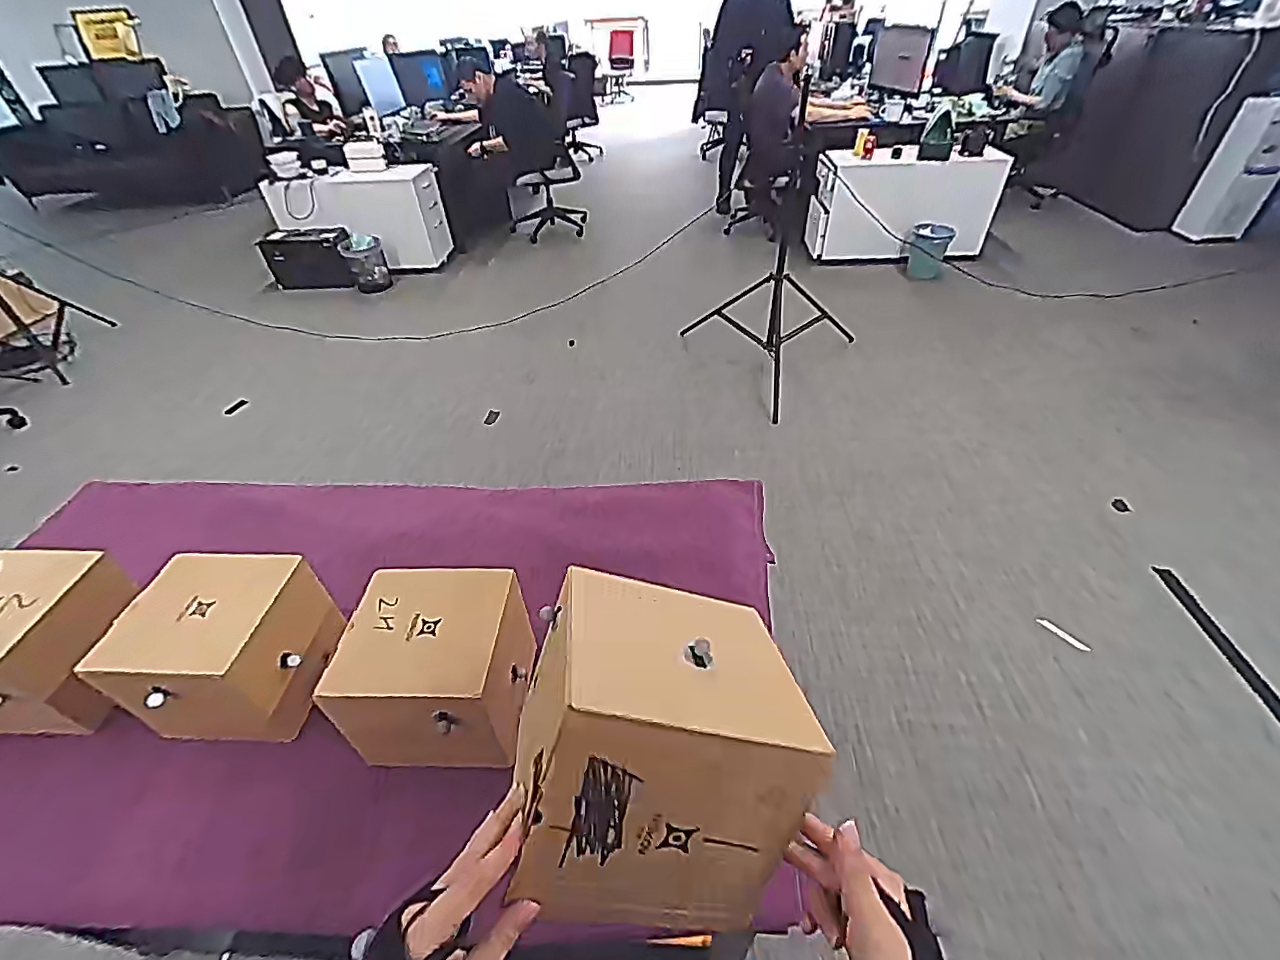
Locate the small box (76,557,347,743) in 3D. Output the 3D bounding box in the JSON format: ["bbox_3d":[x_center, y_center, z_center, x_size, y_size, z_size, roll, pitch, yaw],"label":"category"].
[{"bbox_3d":[-0.511,0.216,0.684,0.179,0.176,0.168,0,42,4],"label":"small box"}]

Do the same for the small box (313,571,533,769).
[{"bbox_3d":[-0.236,0.227,0.647,0.179,0.176,0.168,-1,40,3],"label":"small box"}]

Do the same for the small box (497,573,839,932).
[{"bbox_3d":[0.006,0.191,0.410,0.179,0.168,0.176,16,19,-13],"label":"small box"}]
